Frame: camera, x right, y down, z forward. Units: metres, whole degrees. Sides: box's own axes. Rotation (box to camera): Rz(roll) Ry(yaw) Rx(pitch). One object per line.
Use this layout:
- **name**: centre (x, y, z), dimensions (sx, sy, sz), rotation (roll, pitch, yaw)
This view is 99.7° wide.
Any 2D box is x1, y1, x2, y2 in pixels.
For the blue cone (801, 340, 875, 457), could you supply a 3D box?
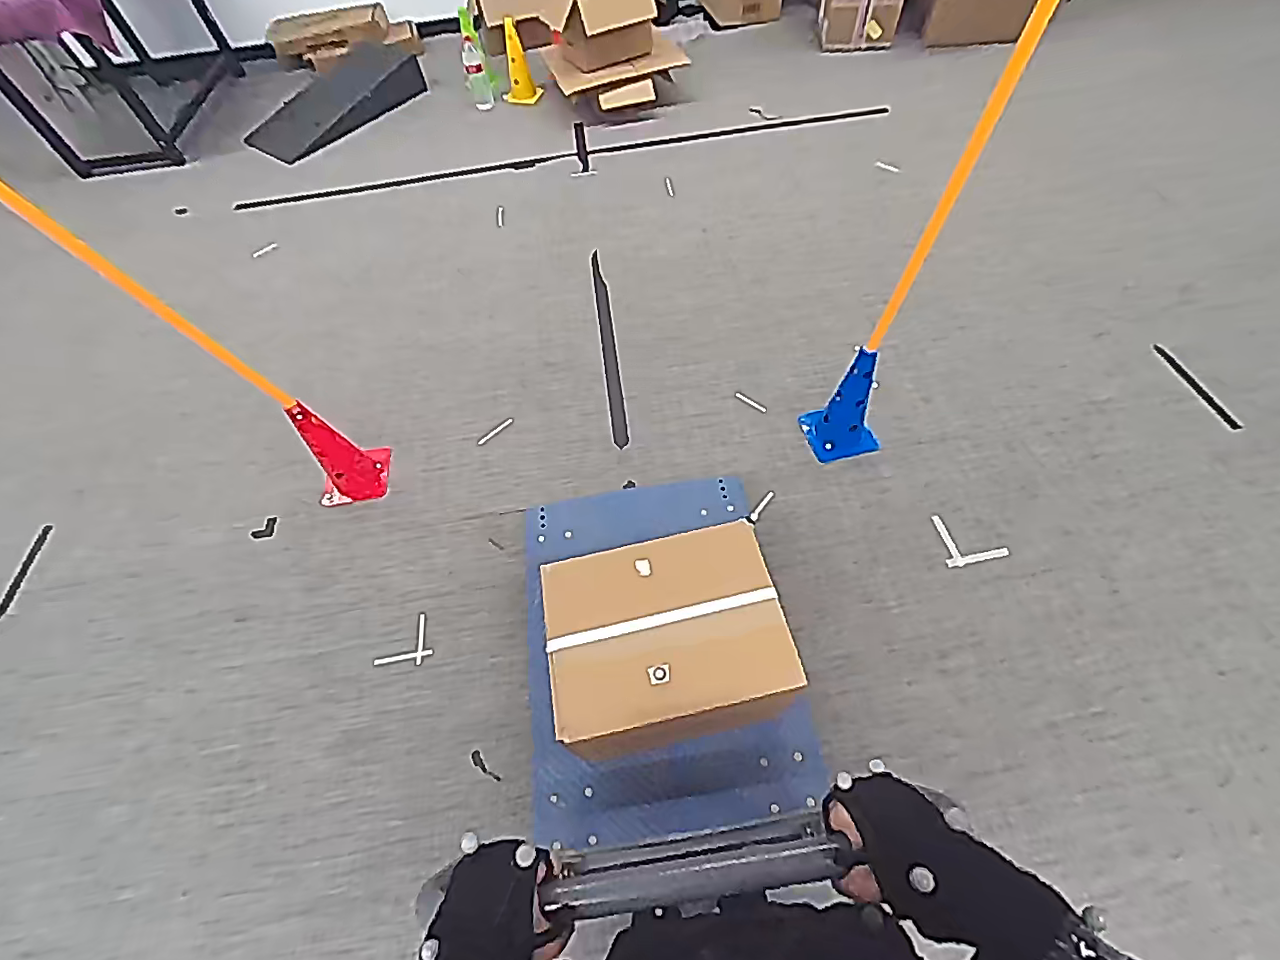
- **blue cone**: centre (0.617, -0.247, 1.575), dimensions (0.193, 0.380, 0.192), rotation (-12, 56, -4)
